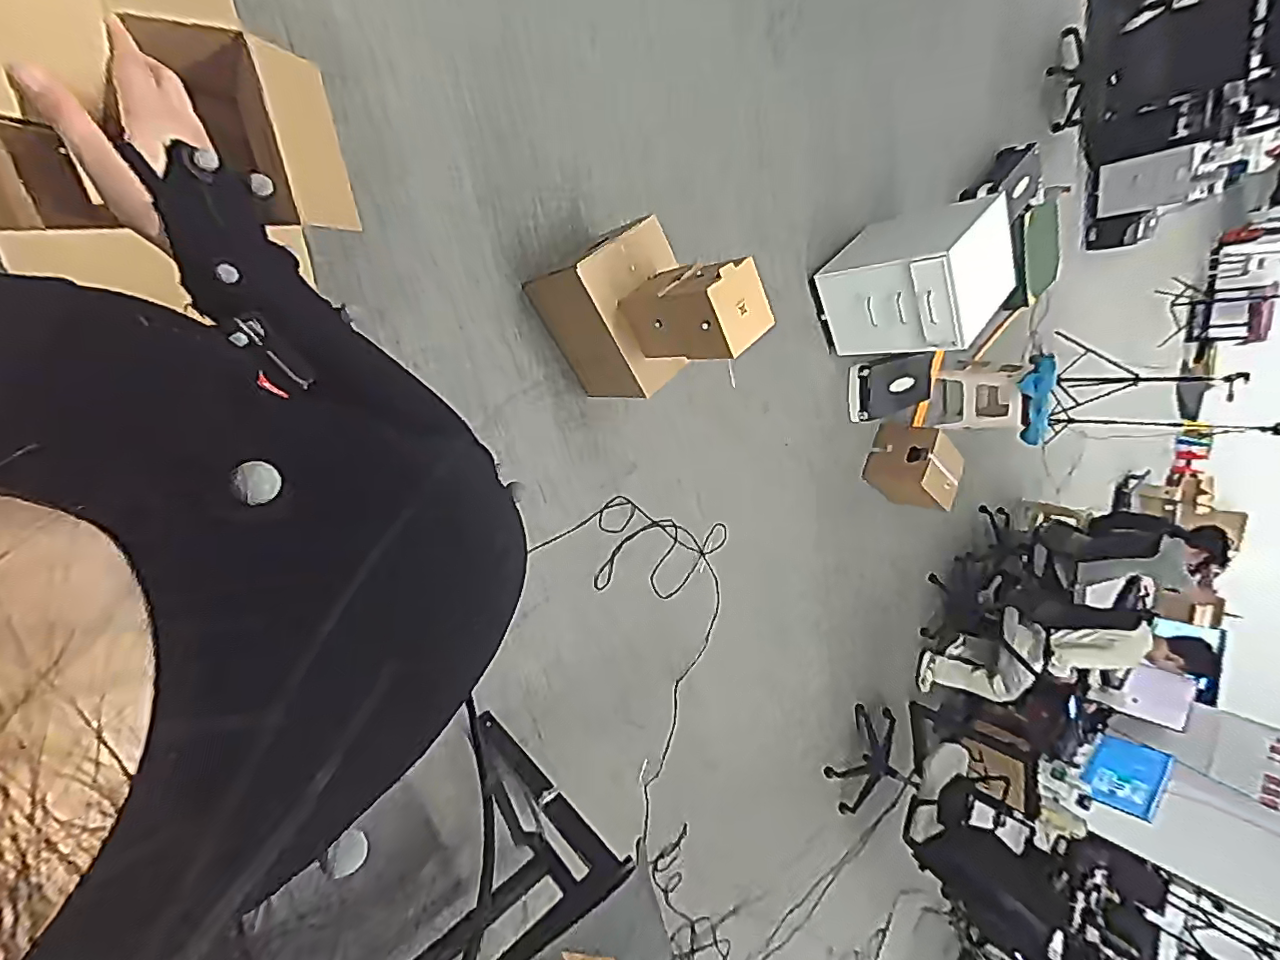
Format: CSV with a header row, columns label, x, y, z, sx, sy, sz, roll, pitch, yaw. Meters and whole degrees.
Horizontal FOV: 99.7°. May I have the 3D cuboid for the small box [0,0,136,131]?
label,x,y,z,sx,sy,sz,roll,pitch,yaw
small box,-0.432,-0.337,0.328,0.168,0.176,0.179,-8,119,-40

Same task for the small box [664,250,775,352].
label,x,y,z,sx,sy,sz,roll,pitch,yaw
small box,0.189,-0.425,1.307,0.168,0.176,0.179,-43,120,-23

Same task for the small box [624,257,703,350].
label,x,y,z,sx,sy,sz,roll,pitch,yaw
small box,0.087,-0.458,1.429,0.168,0.176,0.179,-43,121,-23
